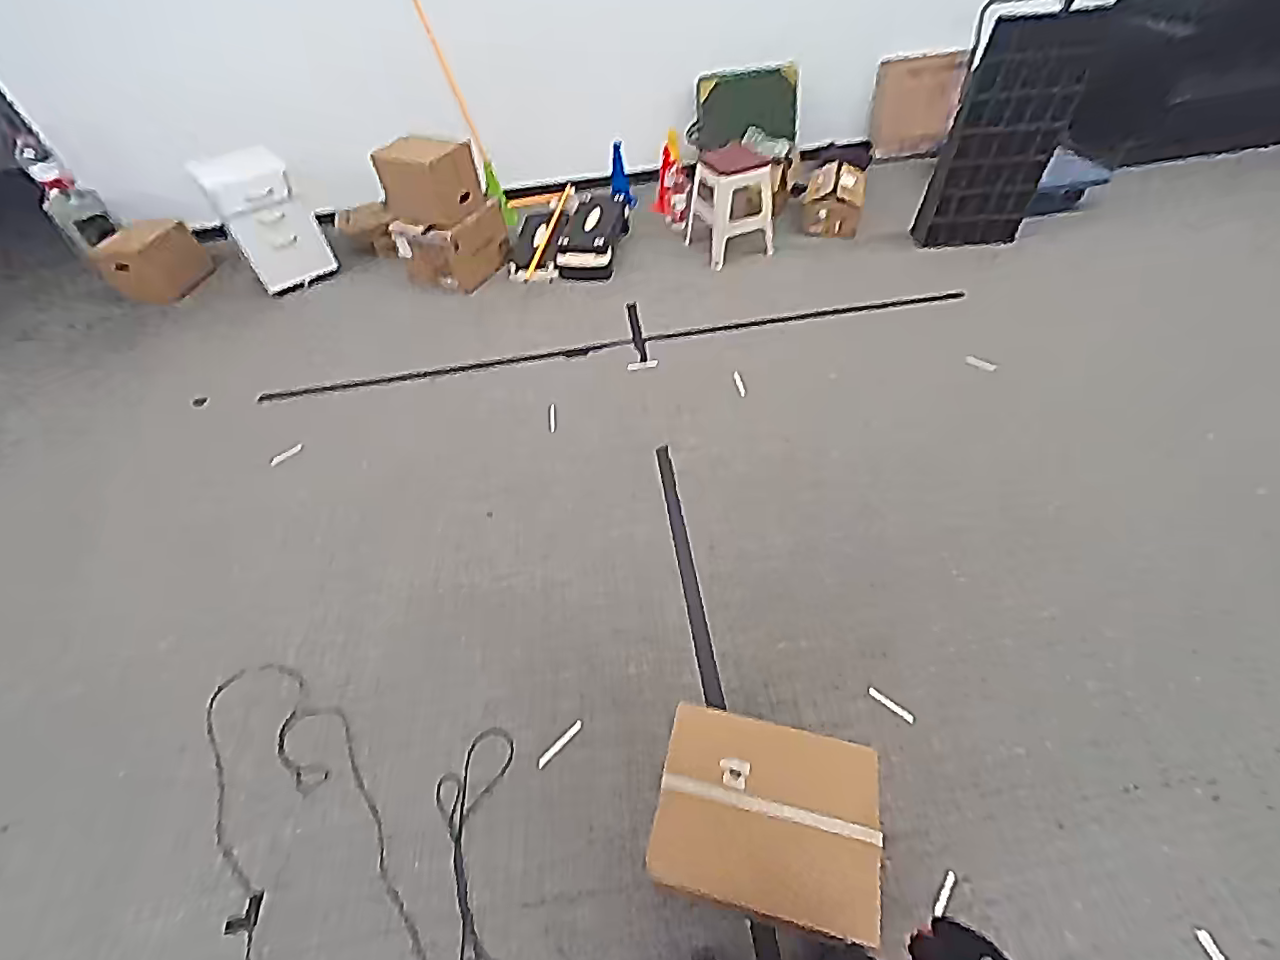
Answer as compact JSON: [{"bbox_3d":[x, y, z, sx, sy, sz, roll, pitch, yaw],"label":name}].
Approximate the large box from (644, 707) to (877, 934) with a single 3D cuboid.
[{"bbox_3d":[0.246,0.712,1.139,0.408,0.320,0.320,6,51,12],"label":"large box"}]
